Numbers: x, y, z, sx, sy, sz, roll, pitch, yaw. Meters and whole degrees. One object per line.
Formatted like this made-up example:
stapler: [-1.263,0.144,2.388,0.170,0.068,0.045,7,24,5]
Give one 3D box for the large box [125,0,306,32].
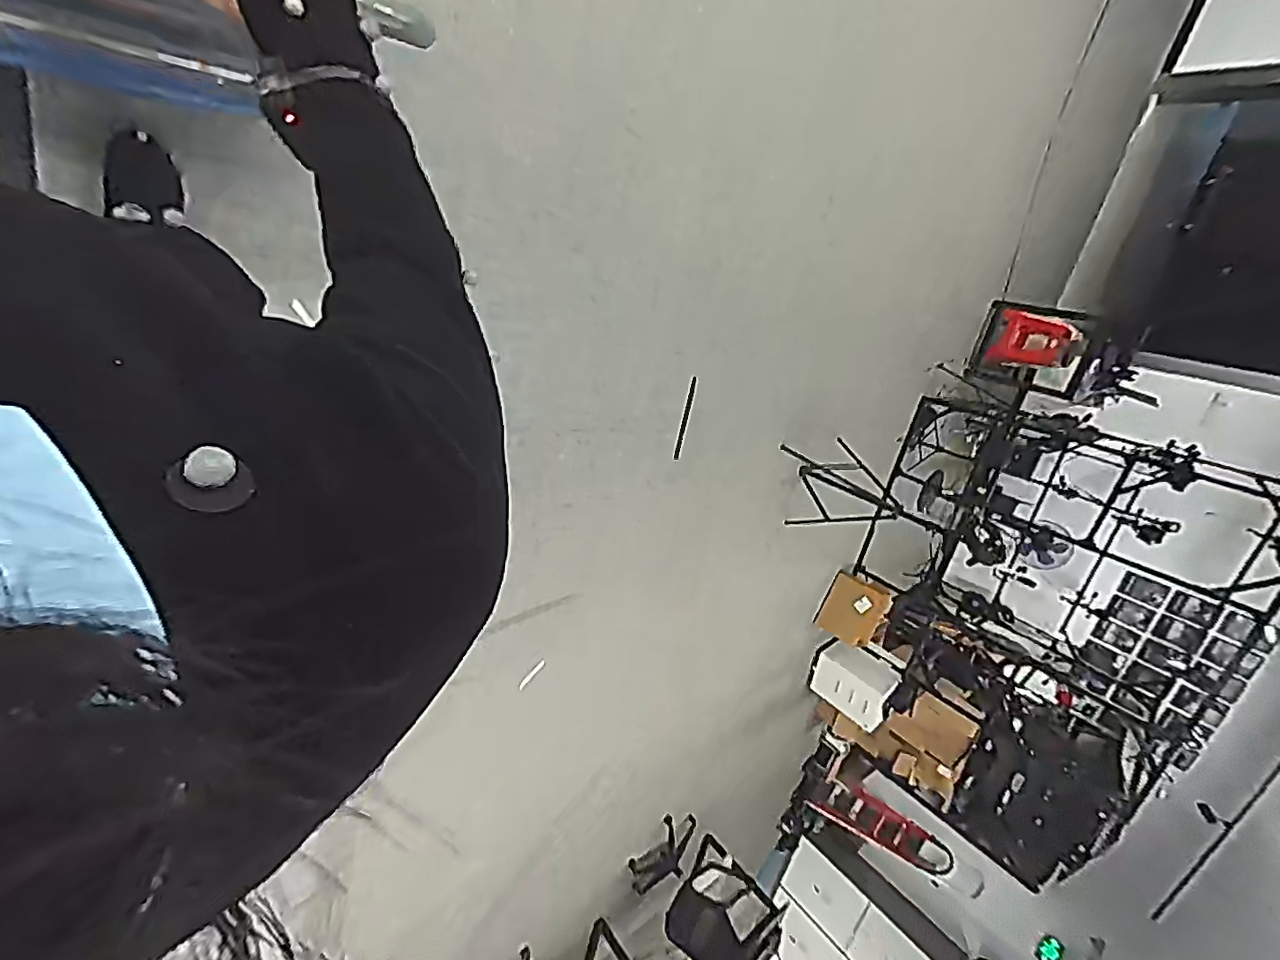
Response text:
large box: [-0.676,-0.800,0.644,0.408,0.320,0.320,-18,125,-39]
